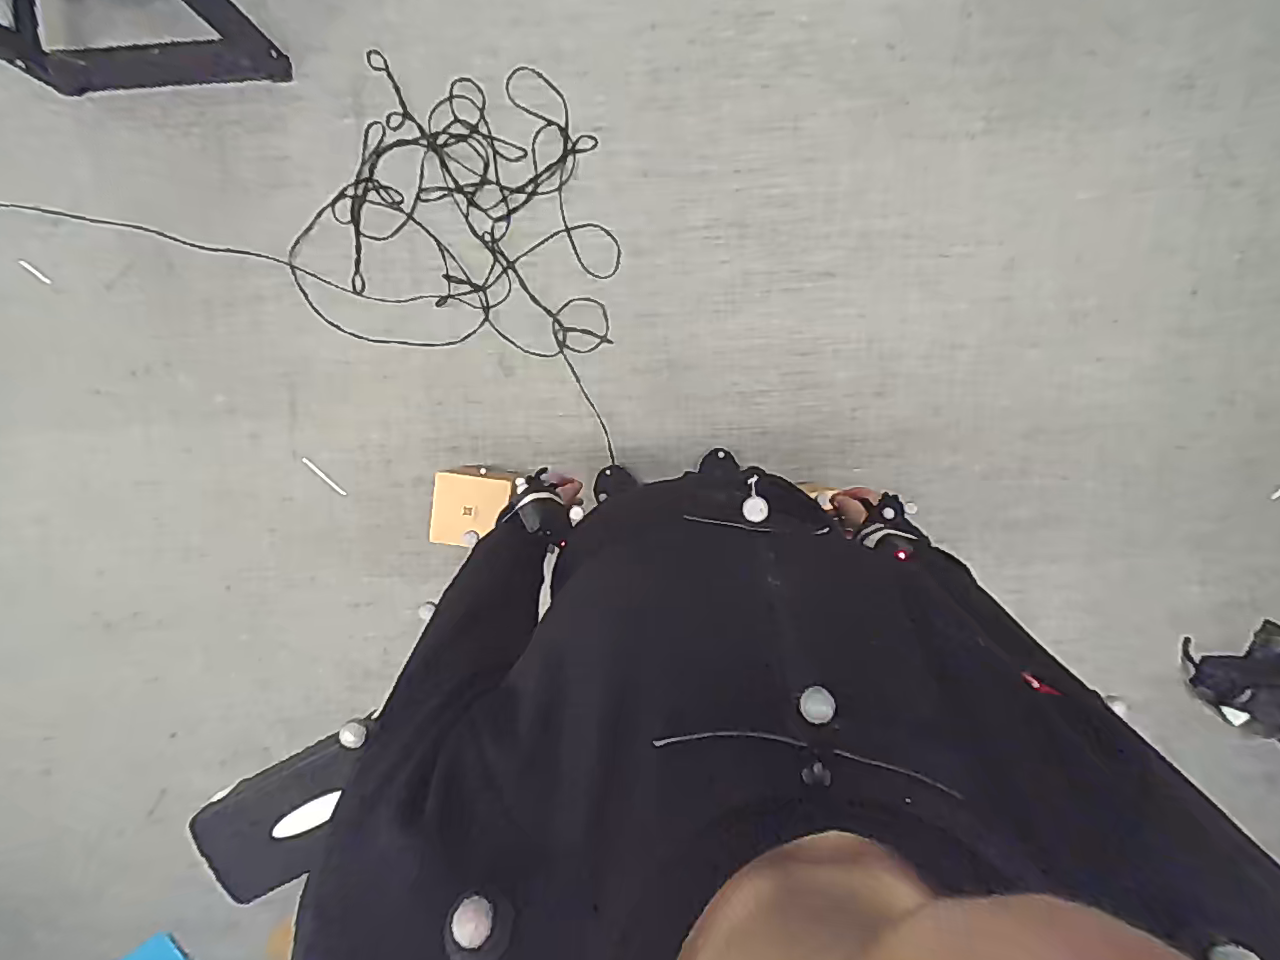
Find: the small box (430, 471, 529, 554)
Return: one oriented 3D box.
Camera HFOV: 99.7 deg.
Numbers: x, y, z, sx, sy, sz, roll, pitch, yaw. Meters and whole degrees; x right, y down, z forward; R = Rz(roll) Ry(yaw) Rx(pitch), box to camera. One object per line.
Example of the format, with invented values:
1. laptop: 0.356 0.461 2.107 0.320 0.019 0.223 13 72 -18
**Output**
1. small box: -0.378 0.070 1.294 0.179 0.176 0.168 8 94 0
